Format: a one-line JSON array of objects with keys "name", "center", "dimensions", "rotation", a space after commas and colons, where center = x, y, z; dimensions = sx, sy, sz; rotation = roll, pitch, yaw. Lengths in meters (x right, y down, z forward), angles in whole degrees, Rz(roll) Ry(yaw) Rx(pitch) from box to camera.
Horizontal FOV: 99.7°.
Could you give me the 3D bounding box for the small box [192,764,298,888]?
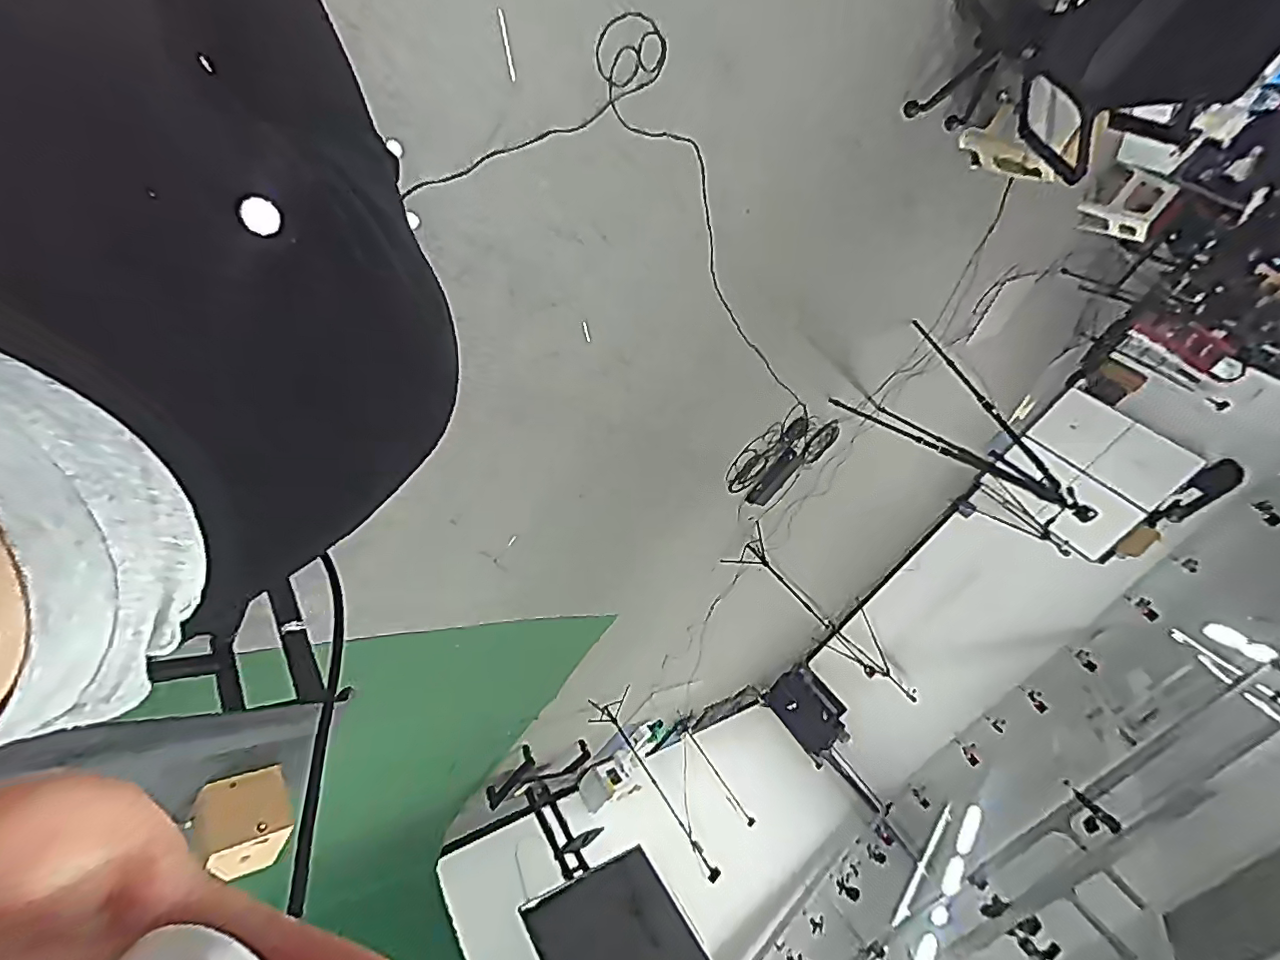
[{"name": "small box", "center": [-0.977, 0.842, 1.331], "dimensions": [0.168, 0.176, 0.179], "rotation": [7, 125, -51]}]
